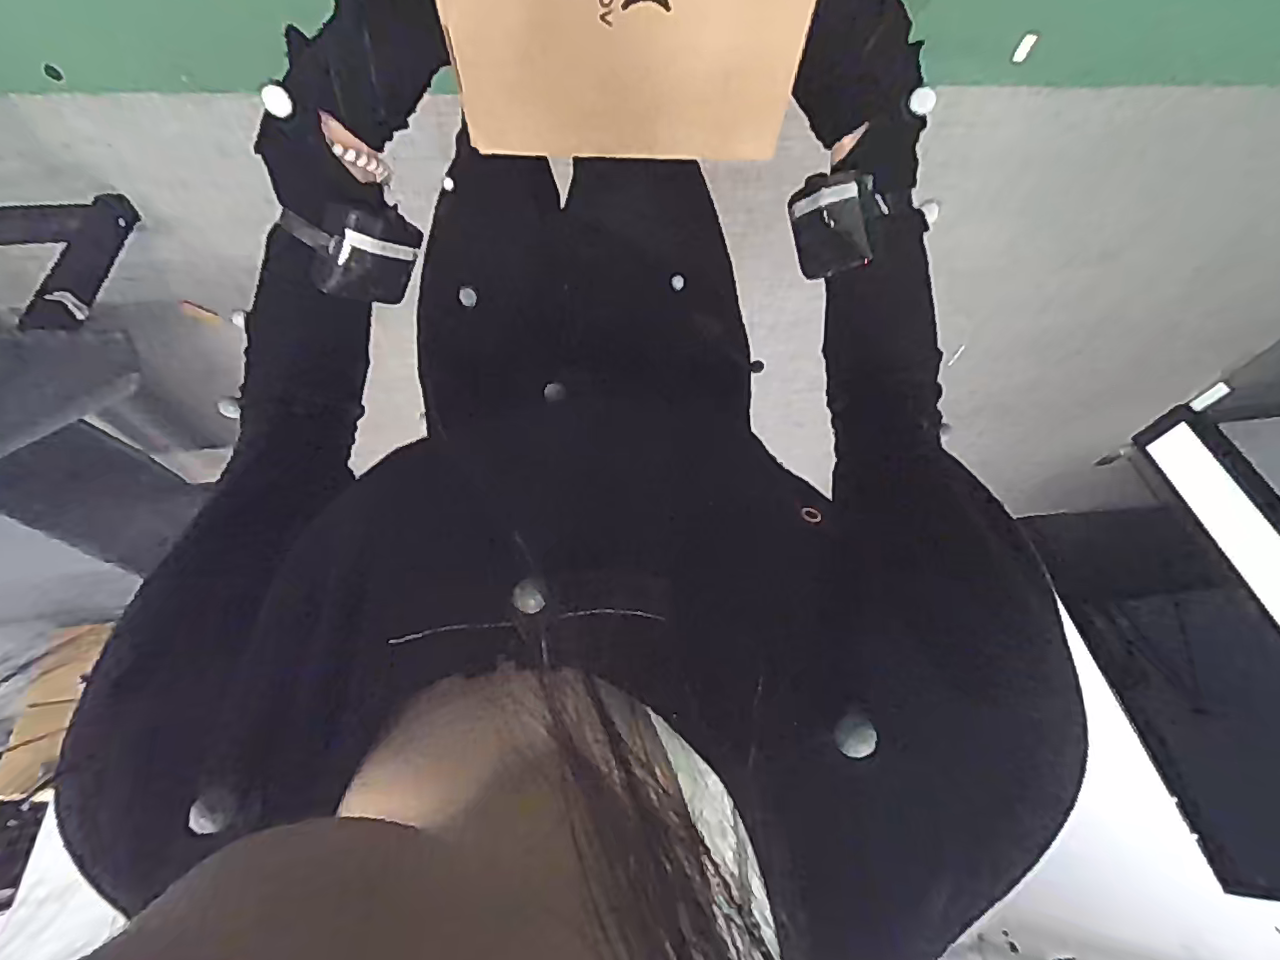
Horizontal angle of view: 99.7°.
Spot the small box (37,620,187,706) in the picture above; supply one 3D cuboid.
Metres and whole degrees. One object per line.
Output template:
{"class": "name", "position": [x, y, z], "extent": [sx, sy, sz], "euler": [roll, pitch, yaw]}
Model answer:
{"class": "small box", "position": [-1.192, 0.428, 1.244], "extent": [0.179, 0.176, 0.168], "euler": [-5, 149, -6]}

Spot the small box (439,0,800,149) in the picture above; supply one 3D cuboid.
{"class": "small box", "position": [-0.012, -0.306, 0.281], "extent": [0.179, 0.176, 0.168], "euler": [-1, 154, -4]}

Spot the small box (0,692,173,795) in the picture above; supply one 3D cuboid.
{"class": "small box", "position": [-1.168, 0.566, 1.160], "extent": [0.179, 0.176, 0.168], "euler": [-6, 149, -7]}
